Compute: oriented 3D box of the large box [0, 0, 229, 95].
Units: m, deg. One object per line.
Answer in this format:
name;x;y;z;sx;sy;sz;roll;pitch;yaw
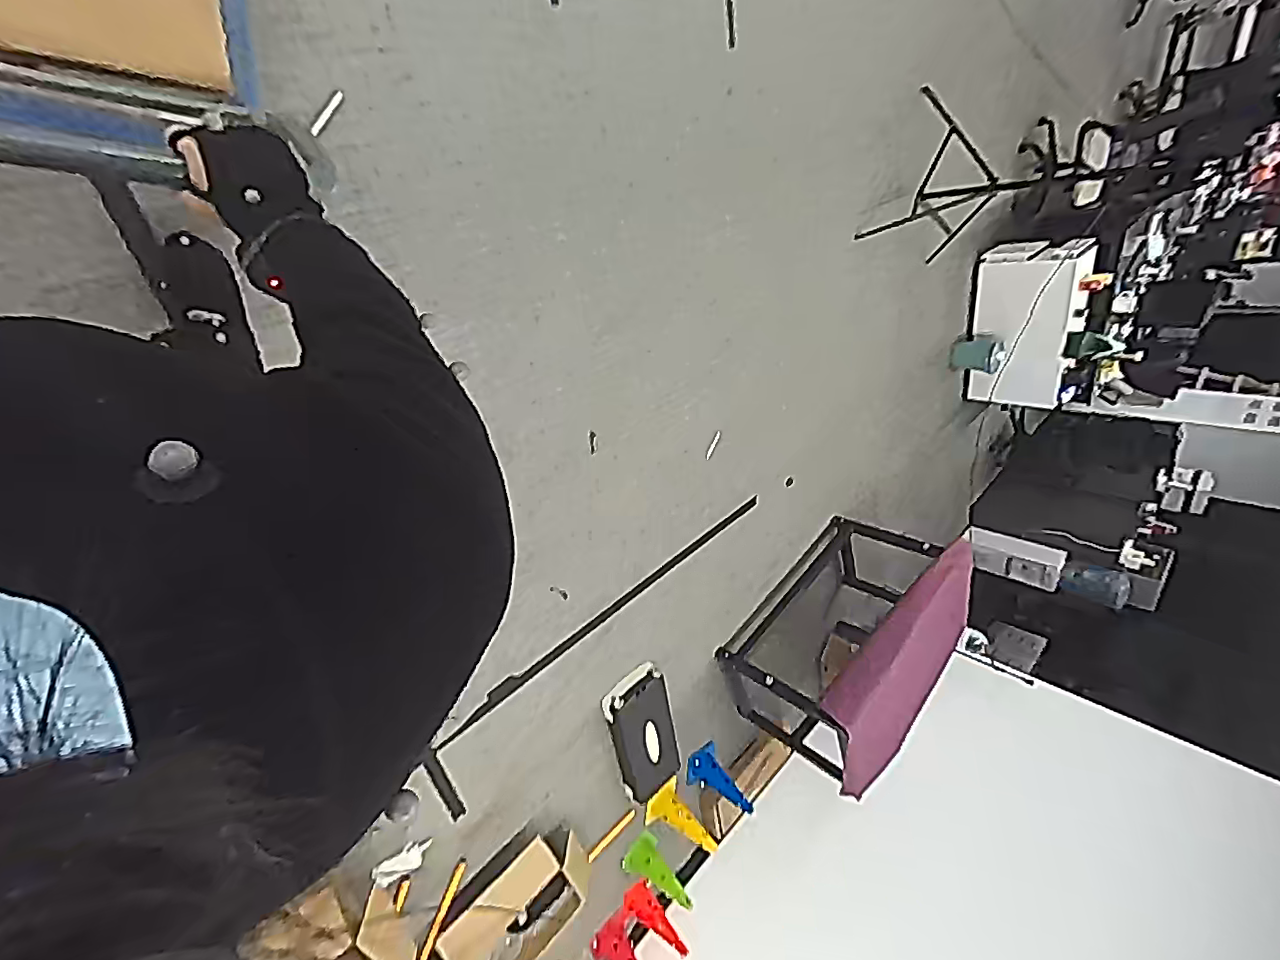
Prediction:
large box;-0.808;-0.709;0.668;0.408;0.320;0.320;-16;126;-39
